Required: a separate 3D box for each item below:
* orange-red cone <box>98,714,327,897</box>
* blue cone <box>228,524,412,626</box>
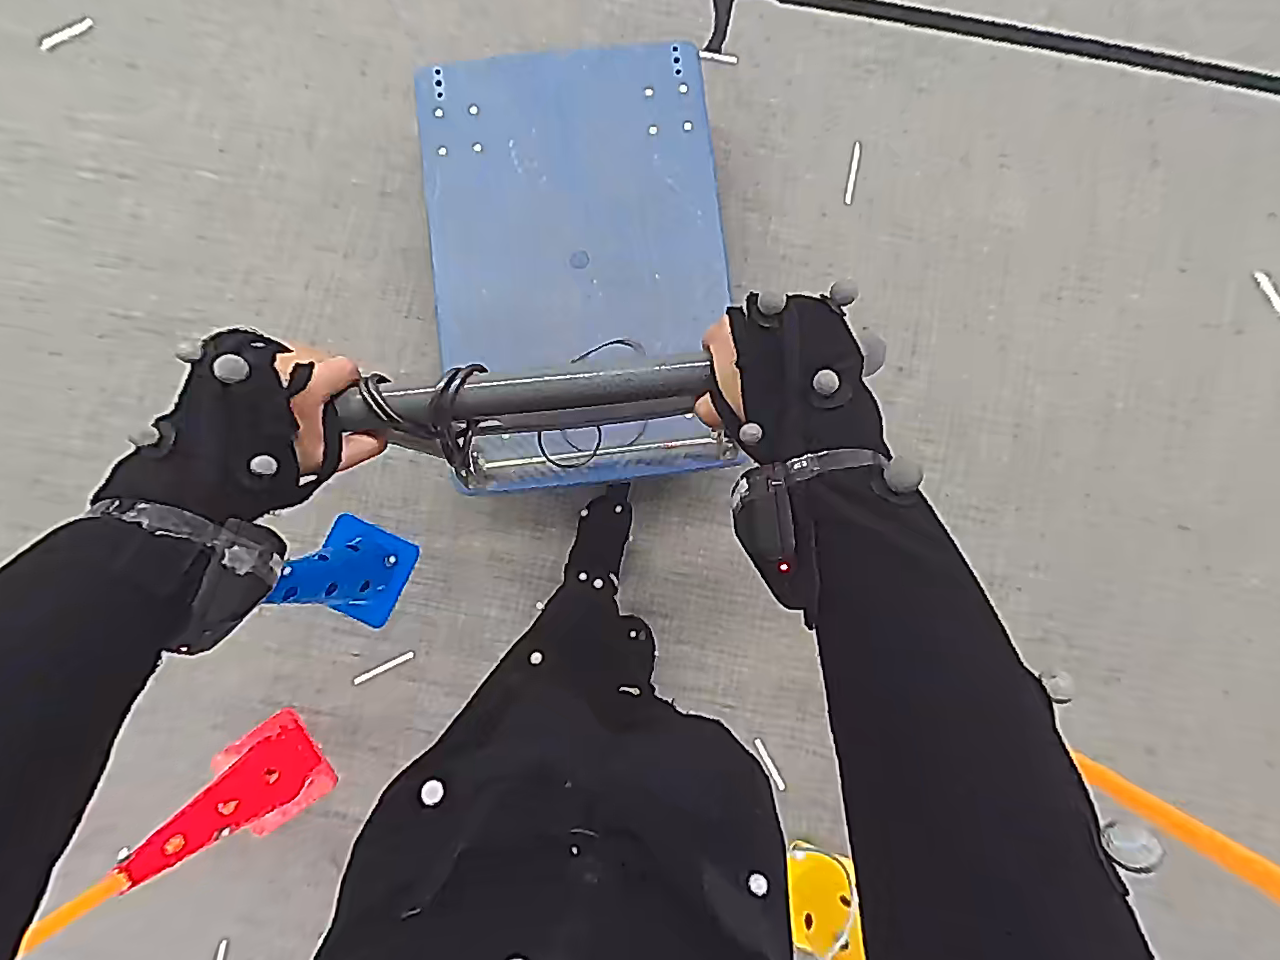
[{"bbox_3d":[-0.773,0.601,0.959,0.199,0.360,0.198,-33,87,-4],"label":"orange-red cone"},{"bbox_3d":[-0.608,0.192,1.010,0.193,0.380,0.192,27,86,2],"label":"blue cone"}]
